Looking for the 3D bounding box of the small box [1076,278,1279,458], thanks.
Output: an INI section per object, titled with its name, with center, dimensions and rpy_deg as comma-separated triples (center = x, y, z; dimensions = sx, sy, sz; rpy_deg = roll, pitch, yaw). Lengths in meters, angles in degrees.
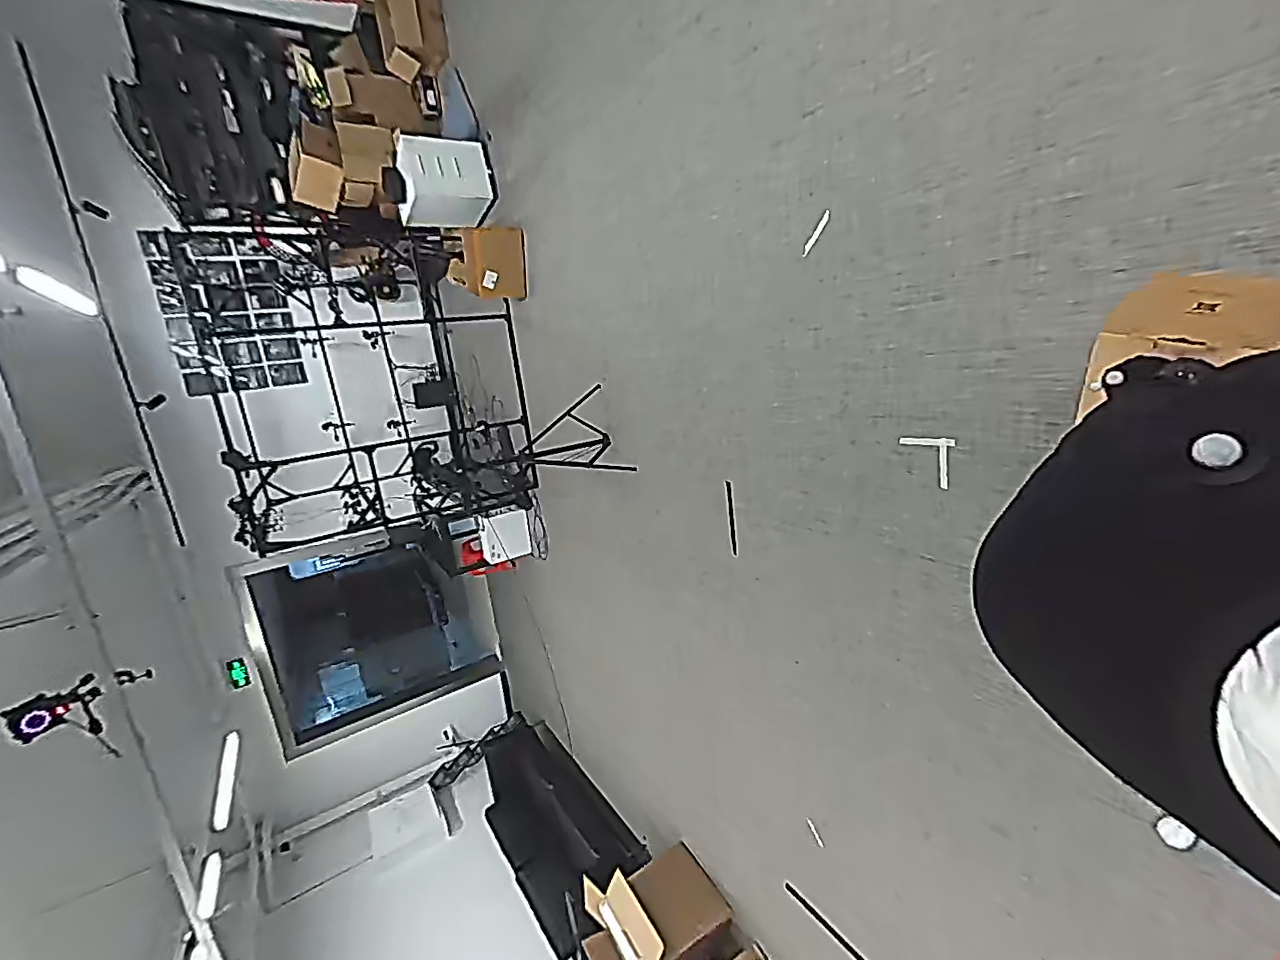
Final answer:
[small box]
center = 0.726, -0.155, 0.731
dimensions = 0.168, 0.179, 0.176
rpy_deg = 28, 146, 46
